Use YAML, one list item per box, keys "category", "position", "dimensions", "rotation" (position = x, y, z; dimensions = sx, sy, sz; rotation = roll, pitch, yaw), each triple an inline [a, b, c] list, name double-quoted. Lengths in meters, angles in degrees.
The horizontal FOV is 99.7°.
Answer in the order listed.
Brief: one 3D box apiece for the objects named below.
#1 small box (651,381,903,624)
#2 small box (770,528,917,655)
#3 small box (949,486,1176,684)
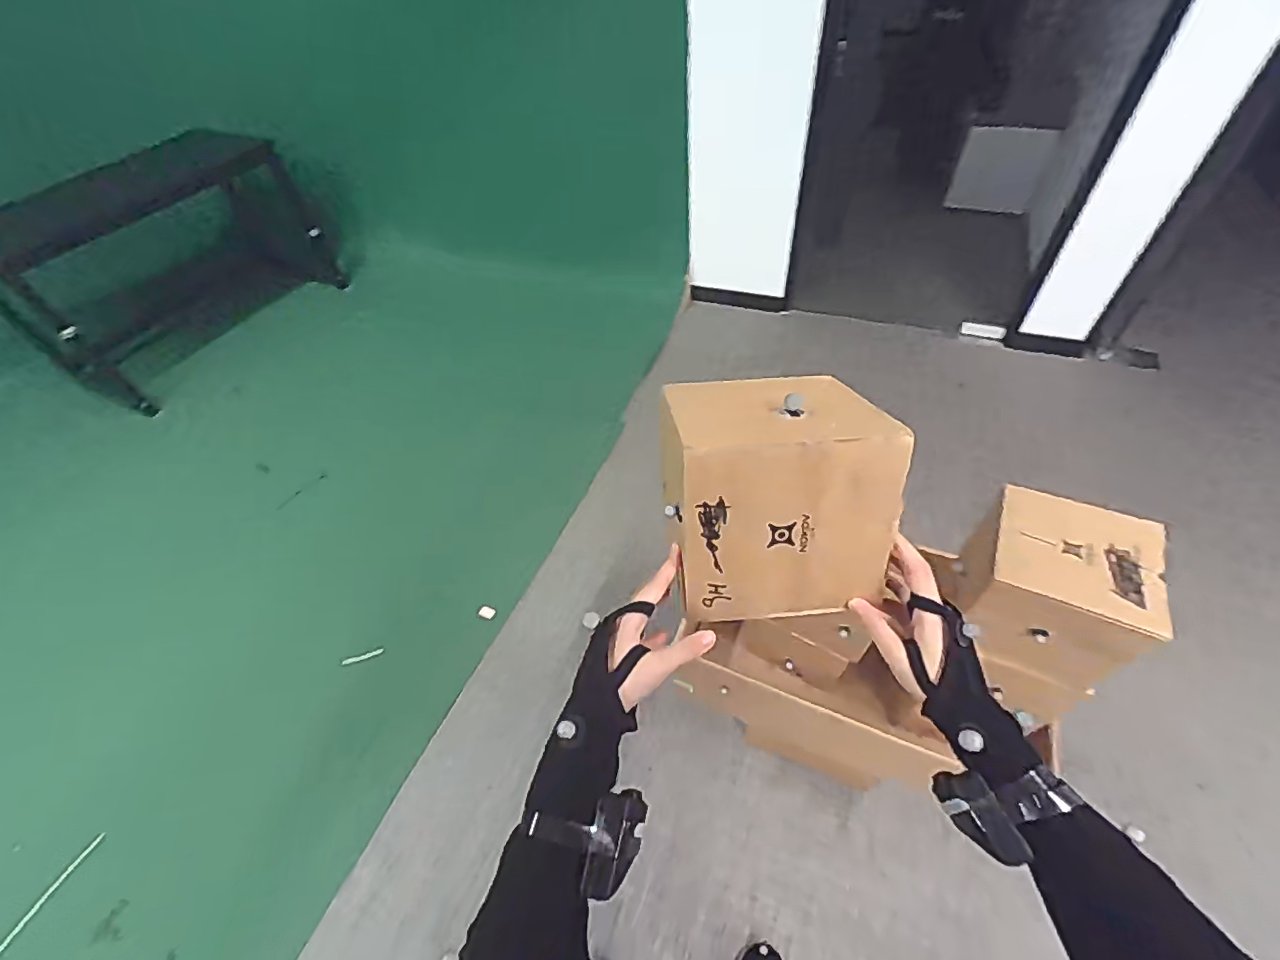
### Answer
- category: "small box"
  position: [0.108, 0.009, 0.505]
  dimensions: [0.179, 0.168, 0.176]
  rotation: [-4, 24, -3]
- category: "small box"
  position: [0.335, 0.172, 0.921]
  dimensions: [0.179, 0.176, 0.168]
  rotation: [24, 55, 20]
- category: "small box"
  position: [0.539, 0.142, 0.709]
  dimensions: [0.179, 0.176, 0.168]
  rotation: [19, 54, 21]
